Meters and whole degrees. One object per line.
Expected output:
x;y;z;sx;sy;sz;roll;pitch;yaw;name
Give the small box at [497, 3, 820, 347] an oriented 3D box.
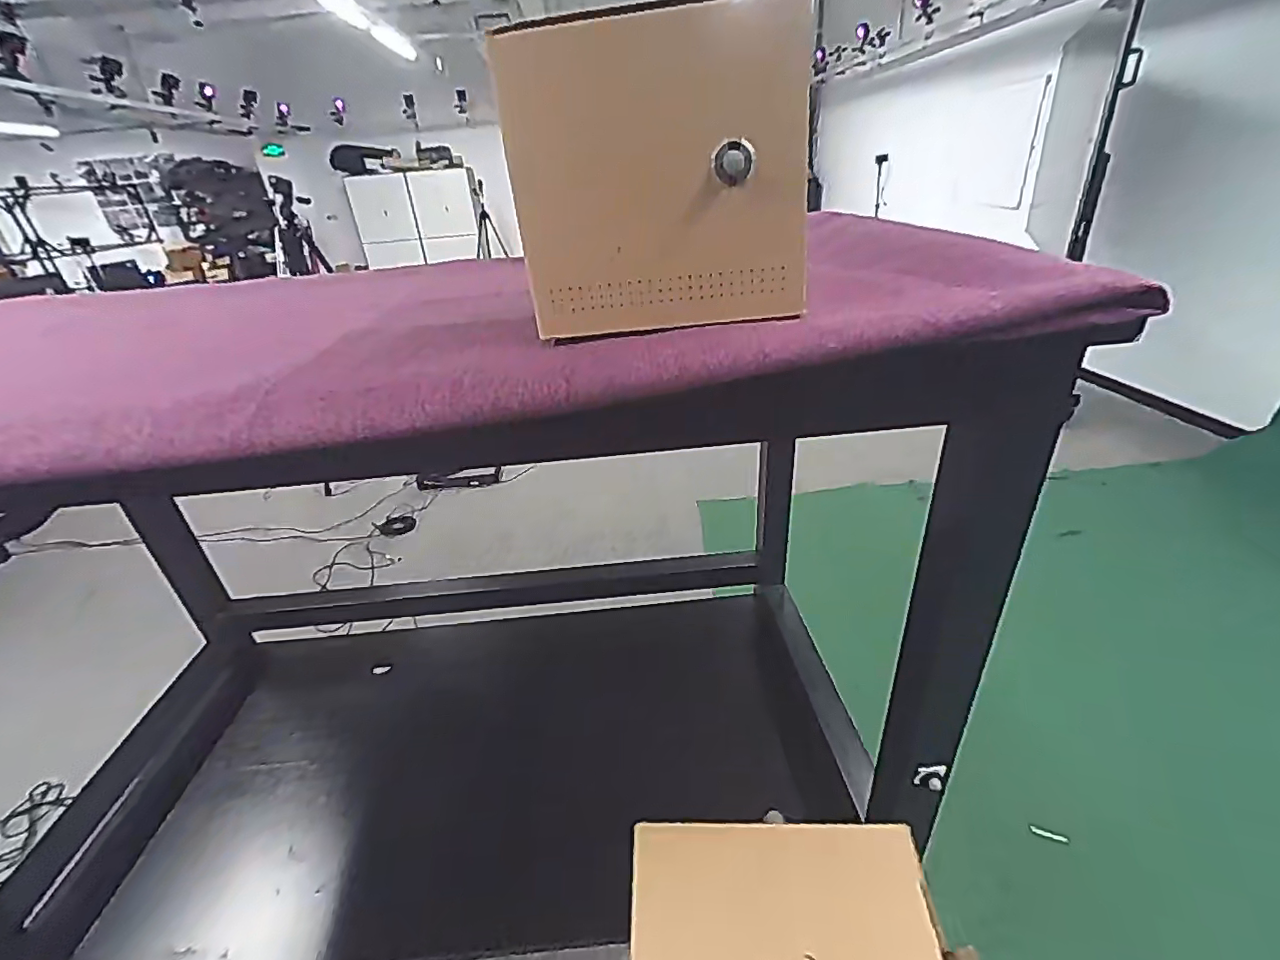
0.019;-0.203;0.393;0.179;0.176;0.168;-5;26;5;small box
